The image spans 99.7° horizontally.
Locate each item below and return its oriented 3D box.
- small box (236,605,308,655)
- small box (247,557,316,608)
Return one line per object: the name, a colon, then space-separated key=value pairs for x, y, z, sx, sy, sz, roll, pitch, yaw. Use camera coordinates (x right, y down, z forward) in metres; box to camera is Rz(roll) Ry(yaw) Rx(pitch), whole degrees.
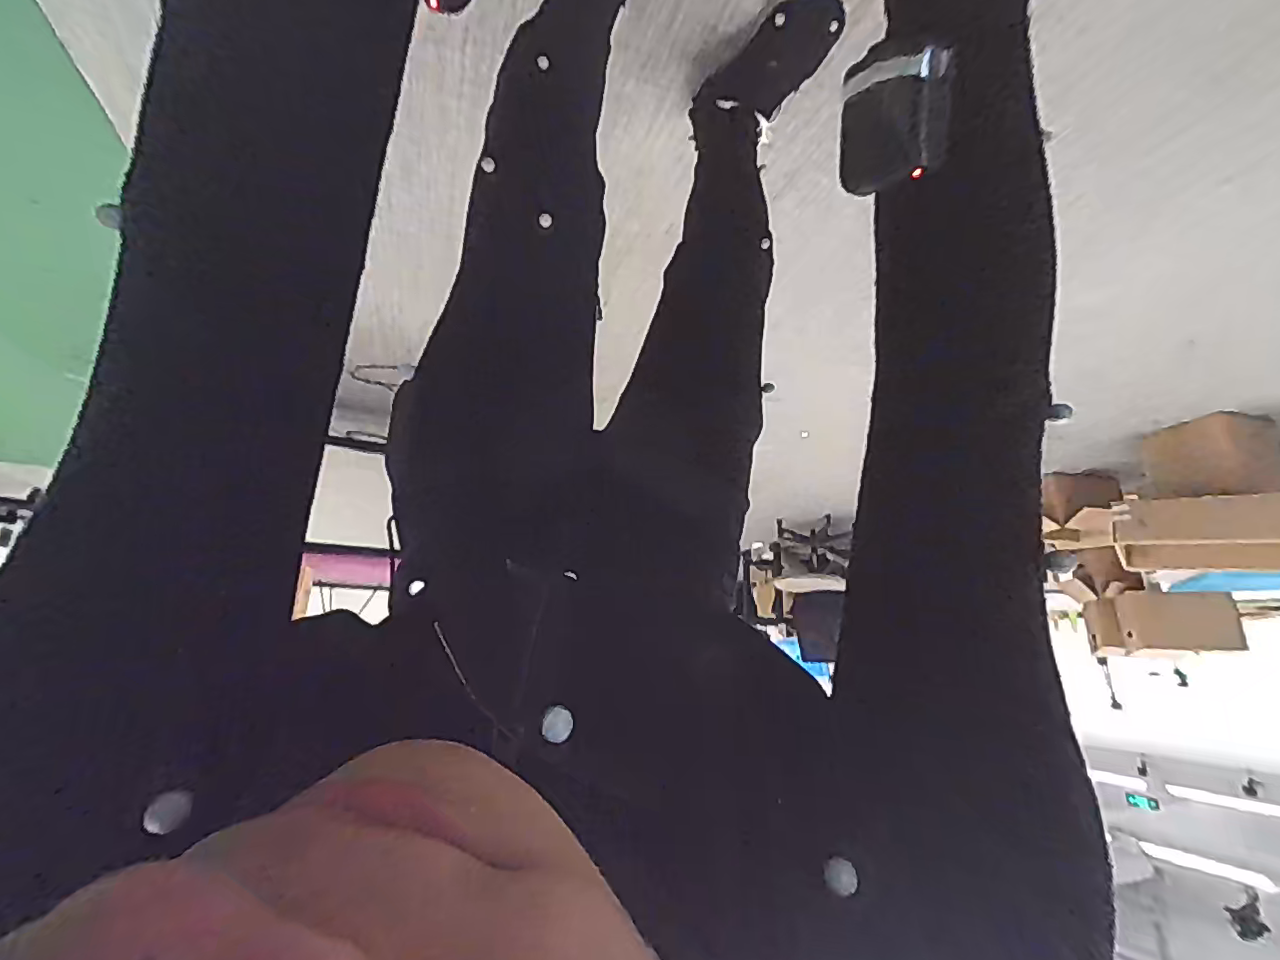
small box: x=-1.320 y=0.540 z=1.949 sx=0.168 sy=0.176 sz=0.179 roll=9 pitch=162 yaw=-21
small box: x=-1.313 y=0.380 z=1.994 sx=0.168 sy=0.176 sz=0.179 roll=7 pitch=164 yaw=-19
